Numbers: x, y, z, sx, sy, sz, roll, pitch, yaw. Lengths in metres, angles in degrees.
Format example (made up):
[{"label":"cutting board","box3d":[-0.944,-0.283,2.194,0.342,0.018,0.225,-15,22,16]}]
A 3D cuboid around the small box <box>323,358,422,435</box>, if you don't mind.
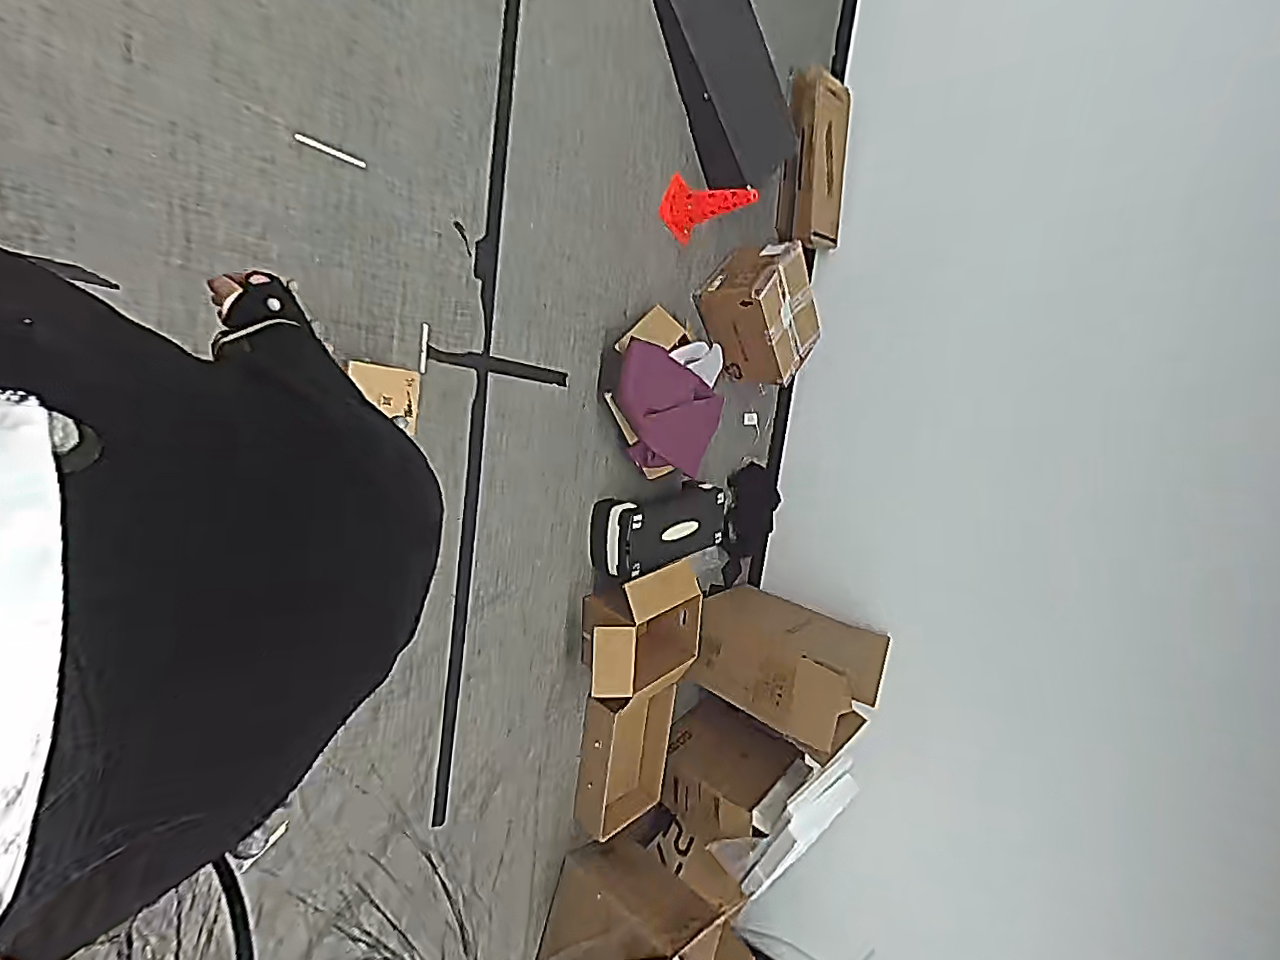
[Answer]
[{"label":"small box","box3d":[-0.684,-0.212,1.377,0.179,0.176,0.168,2,99,-48]}]
